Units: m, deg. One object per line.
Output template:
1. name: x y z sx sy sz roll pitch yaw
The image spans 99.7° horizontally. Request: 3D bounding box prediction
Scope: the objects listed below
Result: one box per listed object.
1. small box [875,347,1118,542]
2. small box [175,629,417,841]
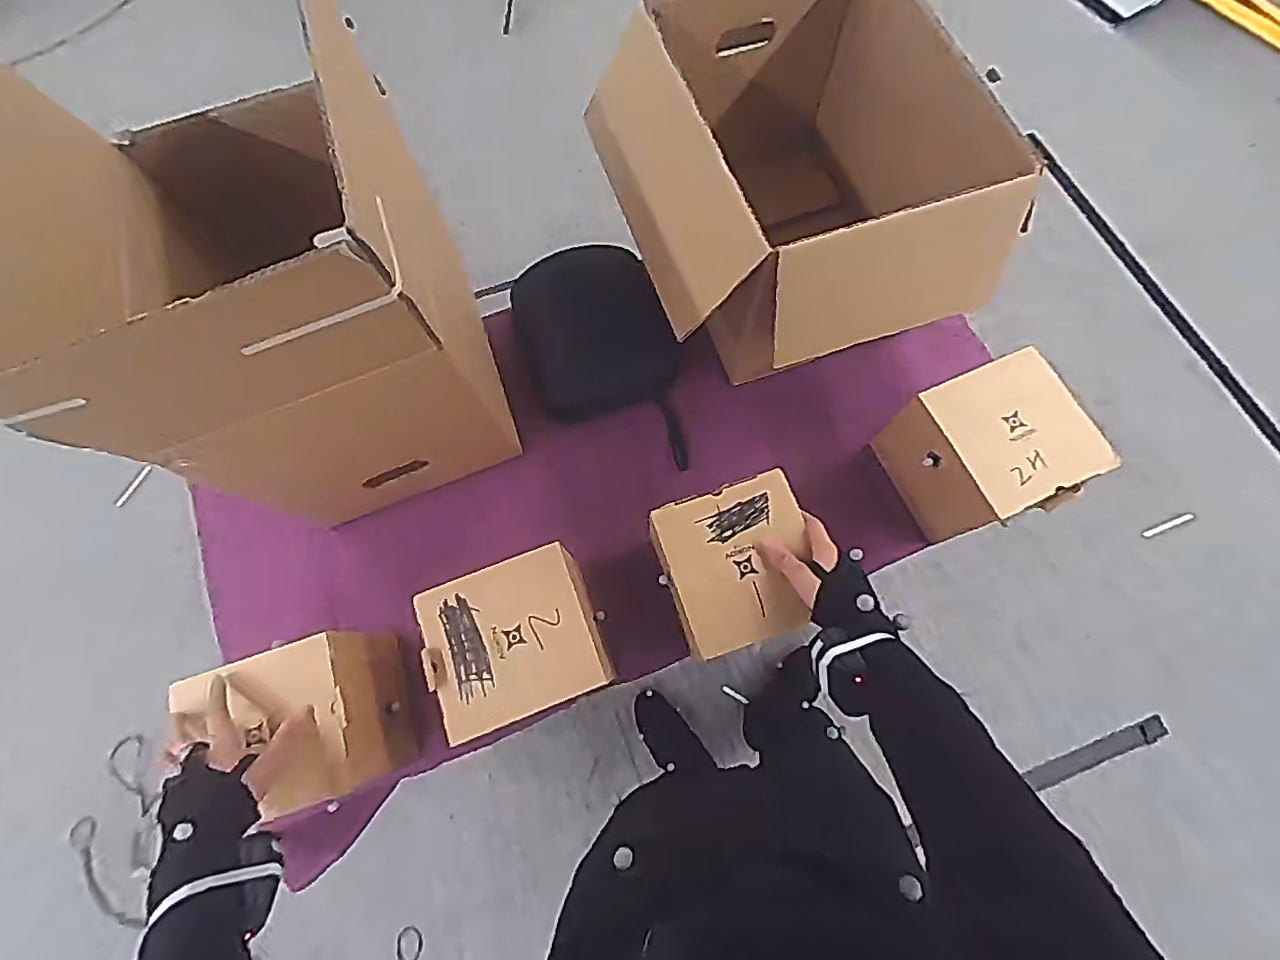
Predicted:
1. small box: 0.447 -0.037 0.716 0.168 0.176 0.179 -23 74 -4
2. small box: -0.395 0.288 0.644 0.179 0.176 0.168 -18 73 -5
